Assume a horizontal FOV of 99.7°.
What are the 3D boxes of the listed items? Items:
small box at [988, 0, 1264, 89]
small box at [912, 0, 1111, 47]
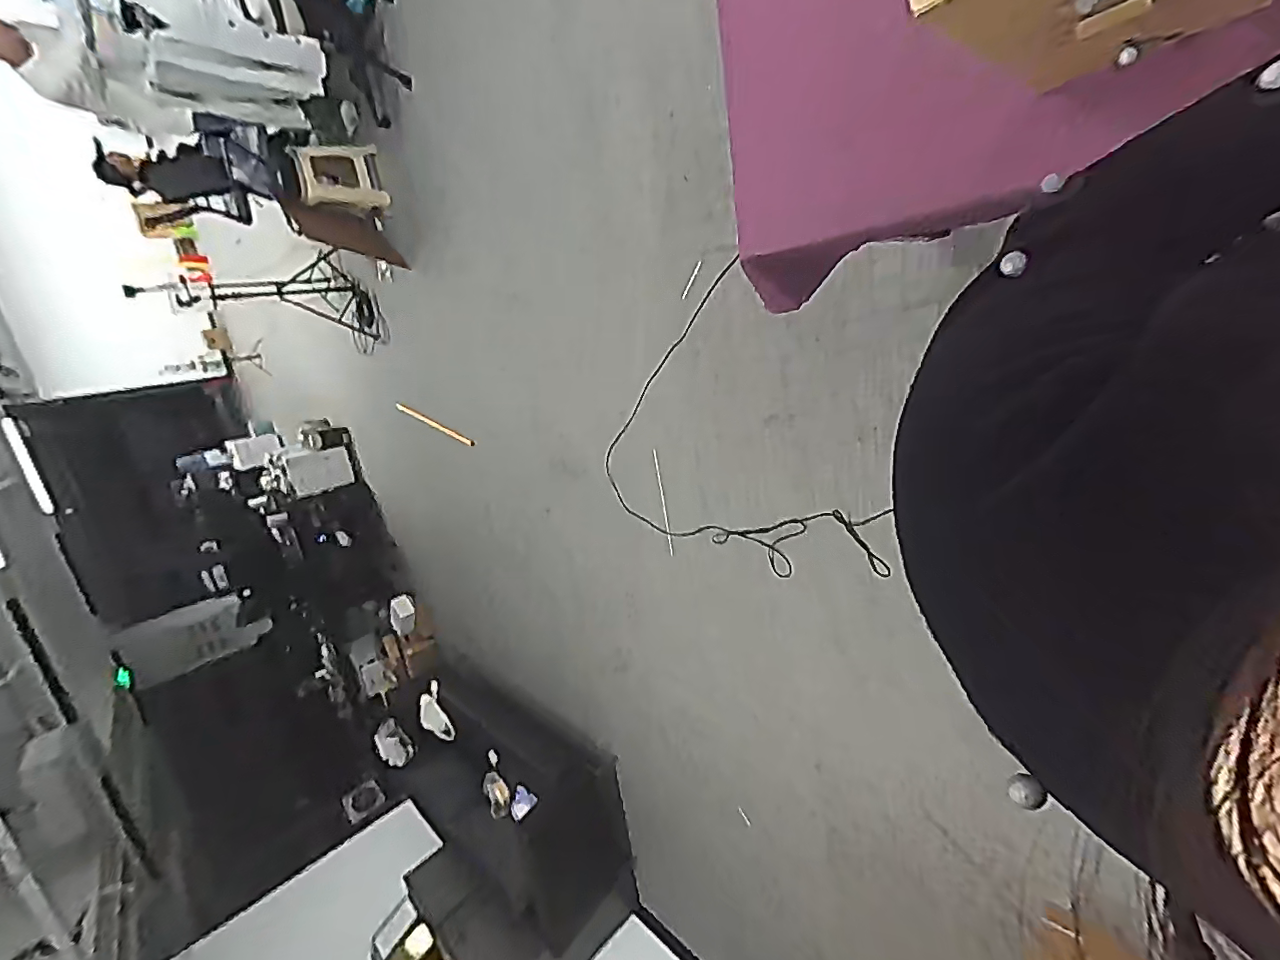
[{"bbox_3d":[0.405,-0.465,0.444,0.168,0.176,0.179,6,111,48],"label":"small box"},{"bbox_3d":[0.285,-0.416,0.342,0.168,0.176,0.179,4,110,47],"label":"small box"}]
